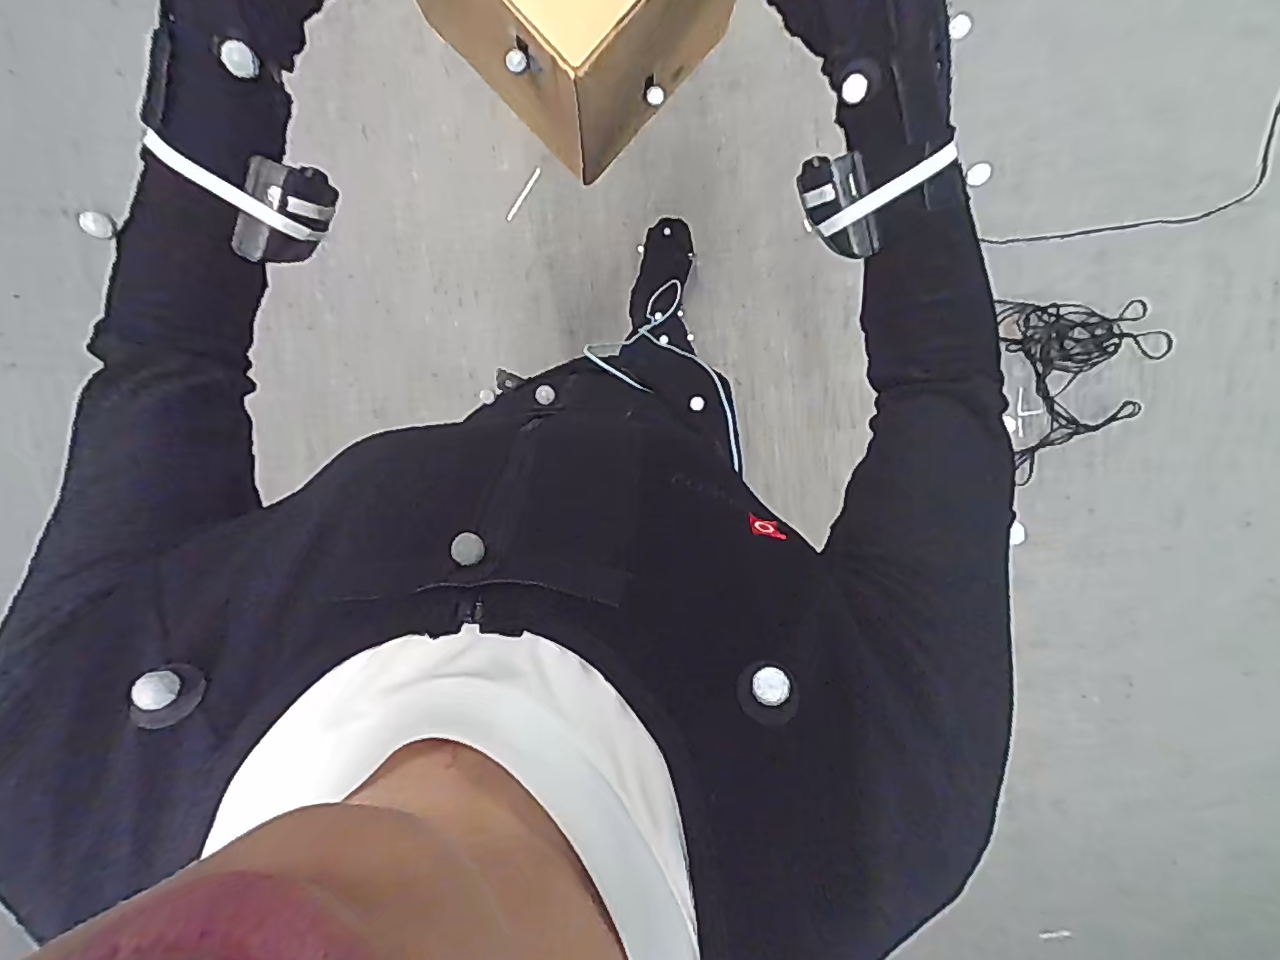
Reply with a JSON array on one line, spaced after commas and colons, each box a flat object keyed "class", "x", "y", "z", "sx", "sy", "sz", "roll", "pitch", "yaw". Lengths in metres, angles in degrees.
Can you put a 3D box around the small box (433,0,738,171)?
[{"class": "small box", "x": -0.040, "y": -0.351, "z": 0.355, "sx": 0.179, "sy": 0.176, "sz": 0.168, "roll": 44, "pitch": 95, "yaw": -10}]
